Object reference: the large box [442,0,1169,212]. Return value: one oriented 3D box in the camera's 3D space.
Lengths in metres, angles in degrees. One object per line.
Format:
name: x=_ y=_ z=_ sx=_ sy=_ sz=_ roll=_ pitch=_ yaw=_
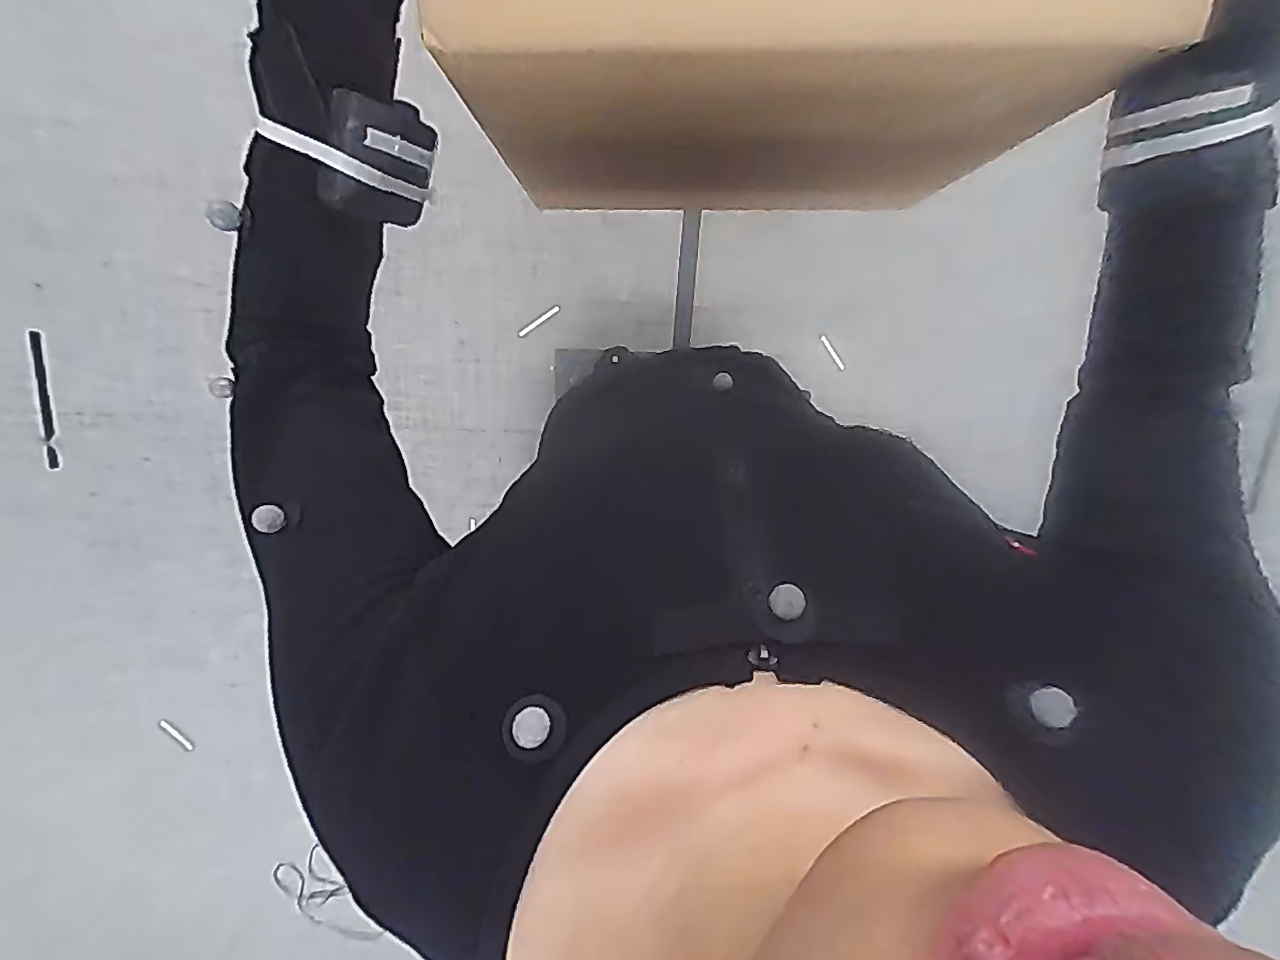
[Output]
large box: x=0.084 y=-0.416 z=0.412 sx=0.408 sy=0.320 sz=0.320 roll=-1 pitch=102 yaw=0
